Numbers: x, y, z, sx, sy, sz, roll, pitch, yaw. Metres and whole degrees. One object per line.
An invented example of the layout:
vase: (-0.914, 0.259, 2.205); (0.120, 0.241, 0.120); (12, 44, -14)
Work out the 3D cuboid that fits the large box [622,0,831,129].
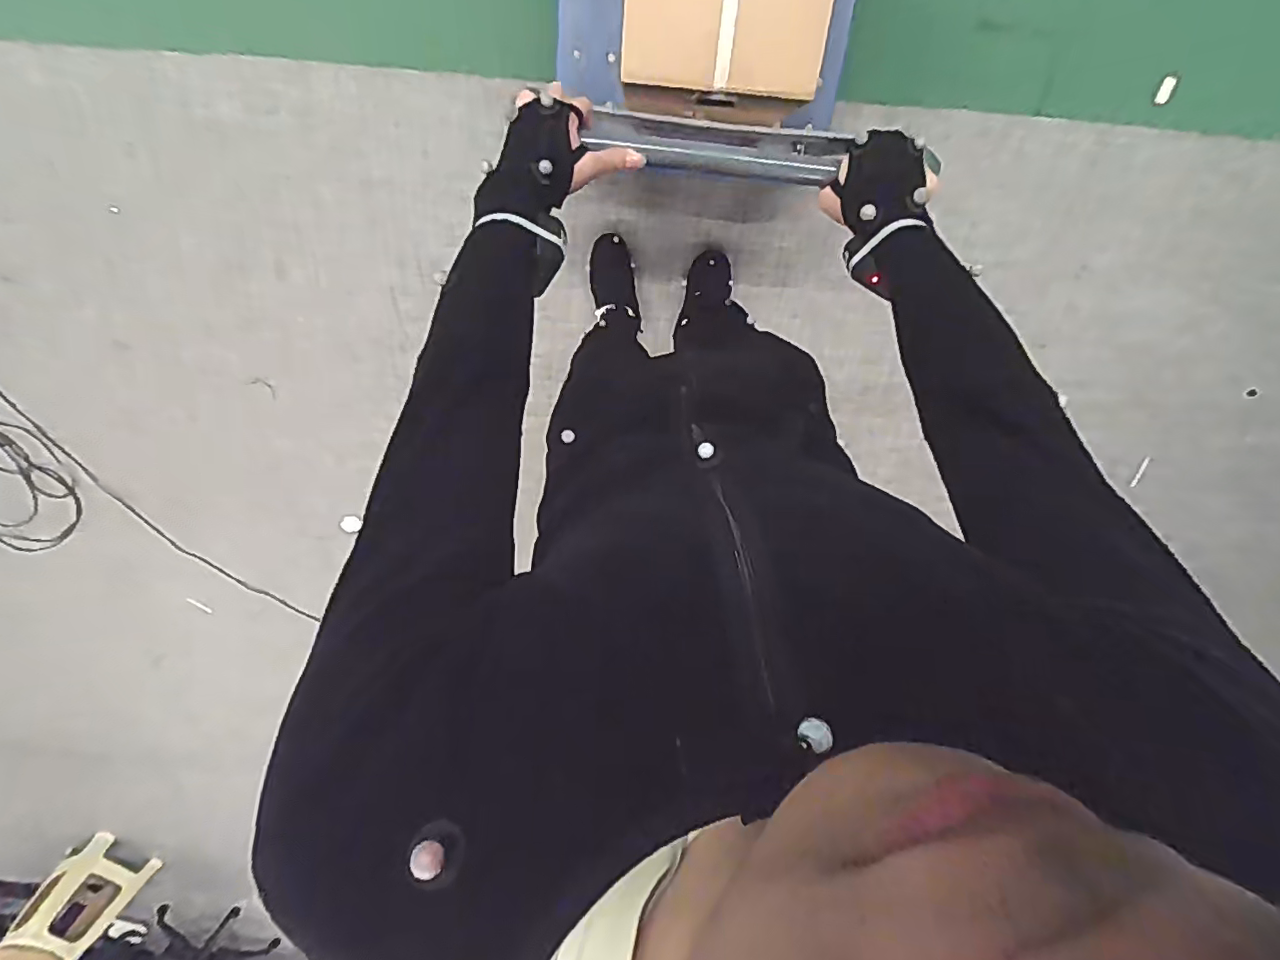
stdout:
large box: (0.143, -0.857, 0.911); (0.320, 0.320, 0.408); (5, 116, -2)
